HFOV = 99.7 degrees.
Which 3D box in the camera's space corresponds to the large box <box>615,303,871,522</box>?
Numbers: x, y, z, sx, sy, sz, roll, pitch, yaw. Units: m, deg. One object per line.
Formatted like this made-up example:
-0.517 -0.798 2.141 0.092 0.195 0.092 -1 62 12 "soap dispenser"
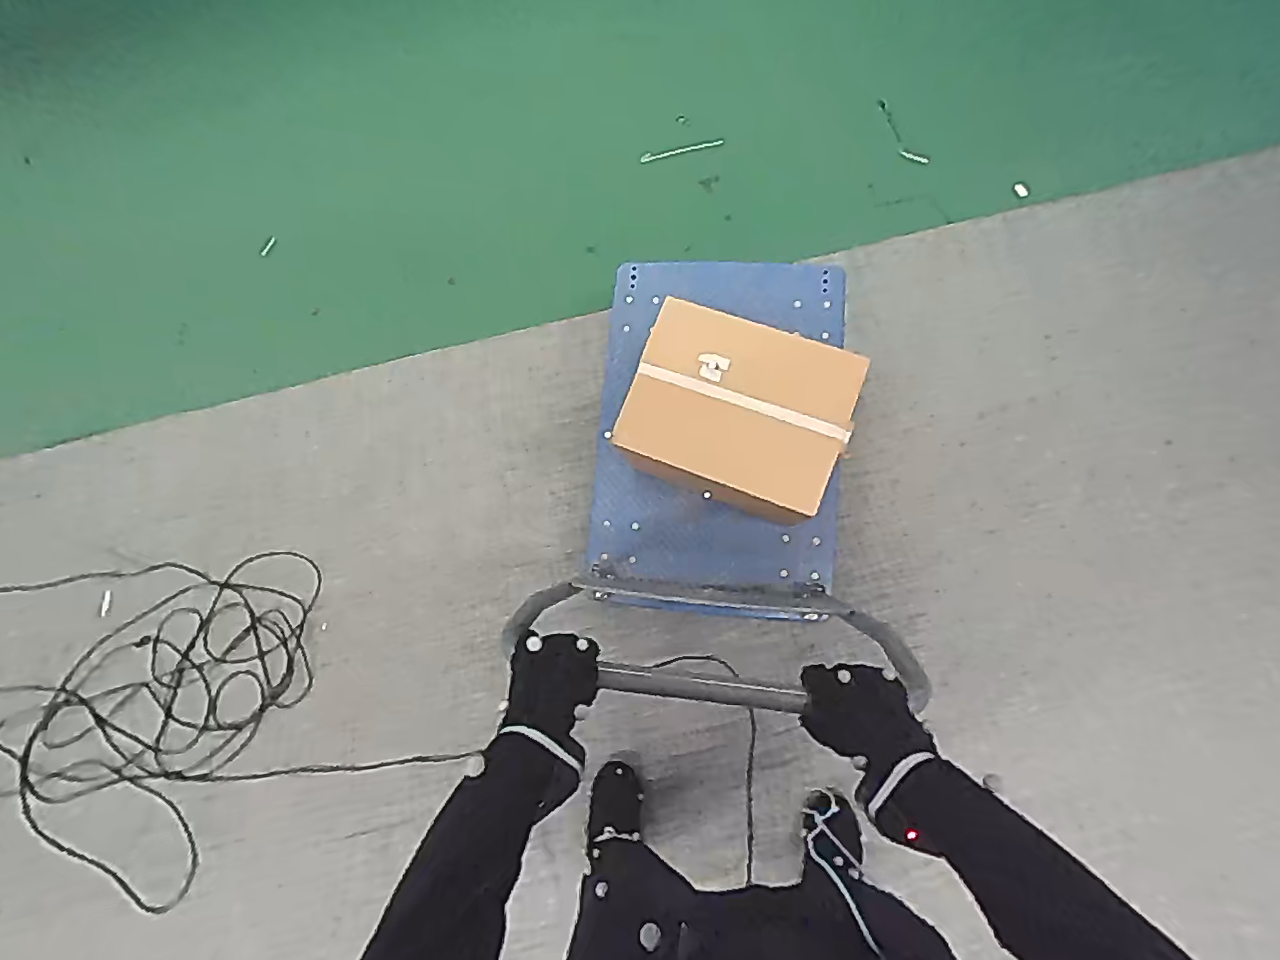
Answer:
0.211 -0.122 1.149 0.408 0.320 0.320 20 85 11 "large box"
